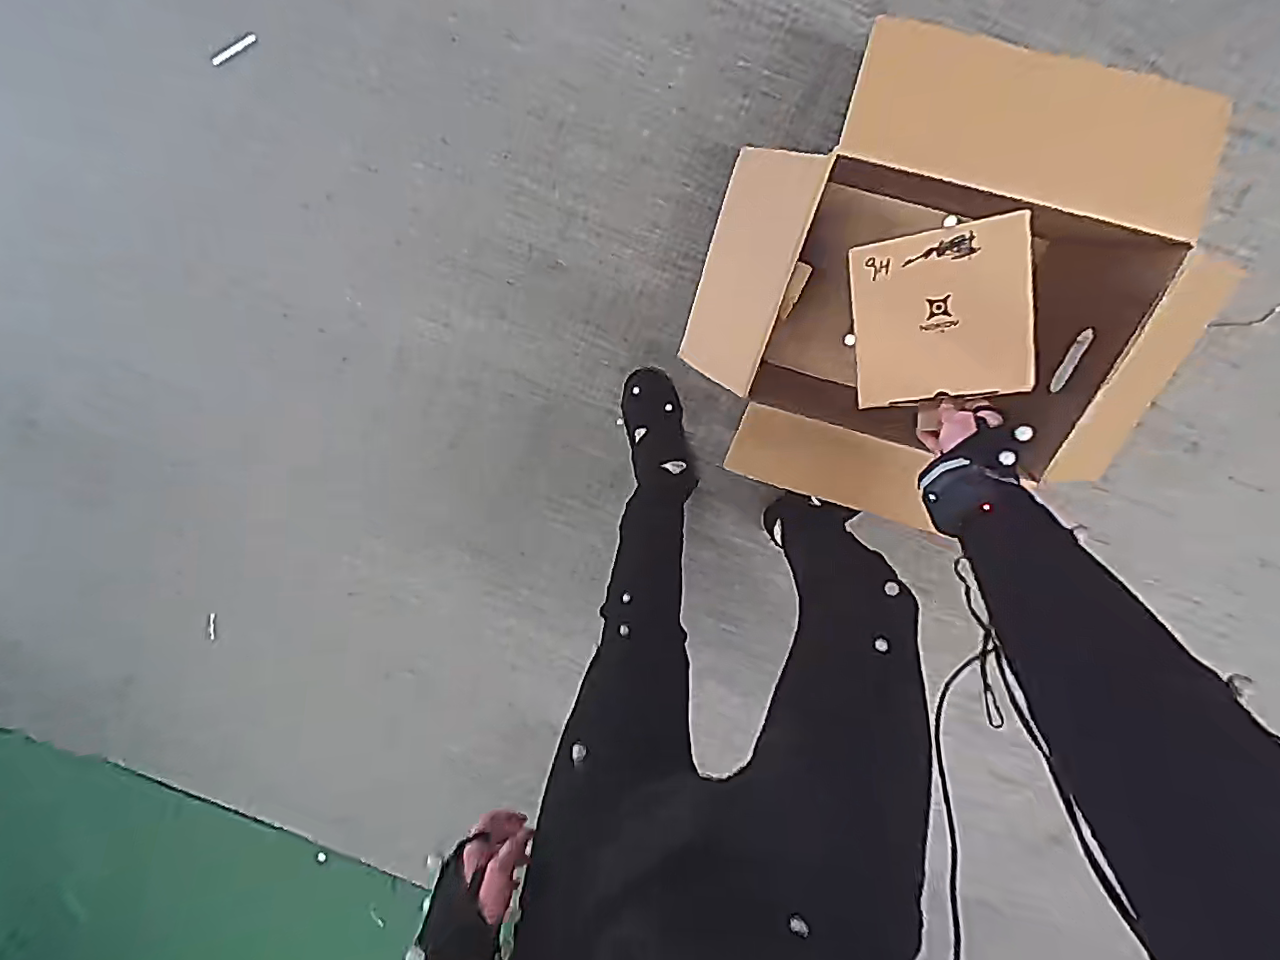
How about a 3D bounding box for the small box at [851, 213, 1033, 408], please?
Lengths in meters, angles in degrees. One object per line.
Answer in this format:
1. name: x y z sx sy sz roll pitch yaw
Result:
1. small box: 0.344 -0.182 0.633 0.168 0.176 0.179 -3 98 25
